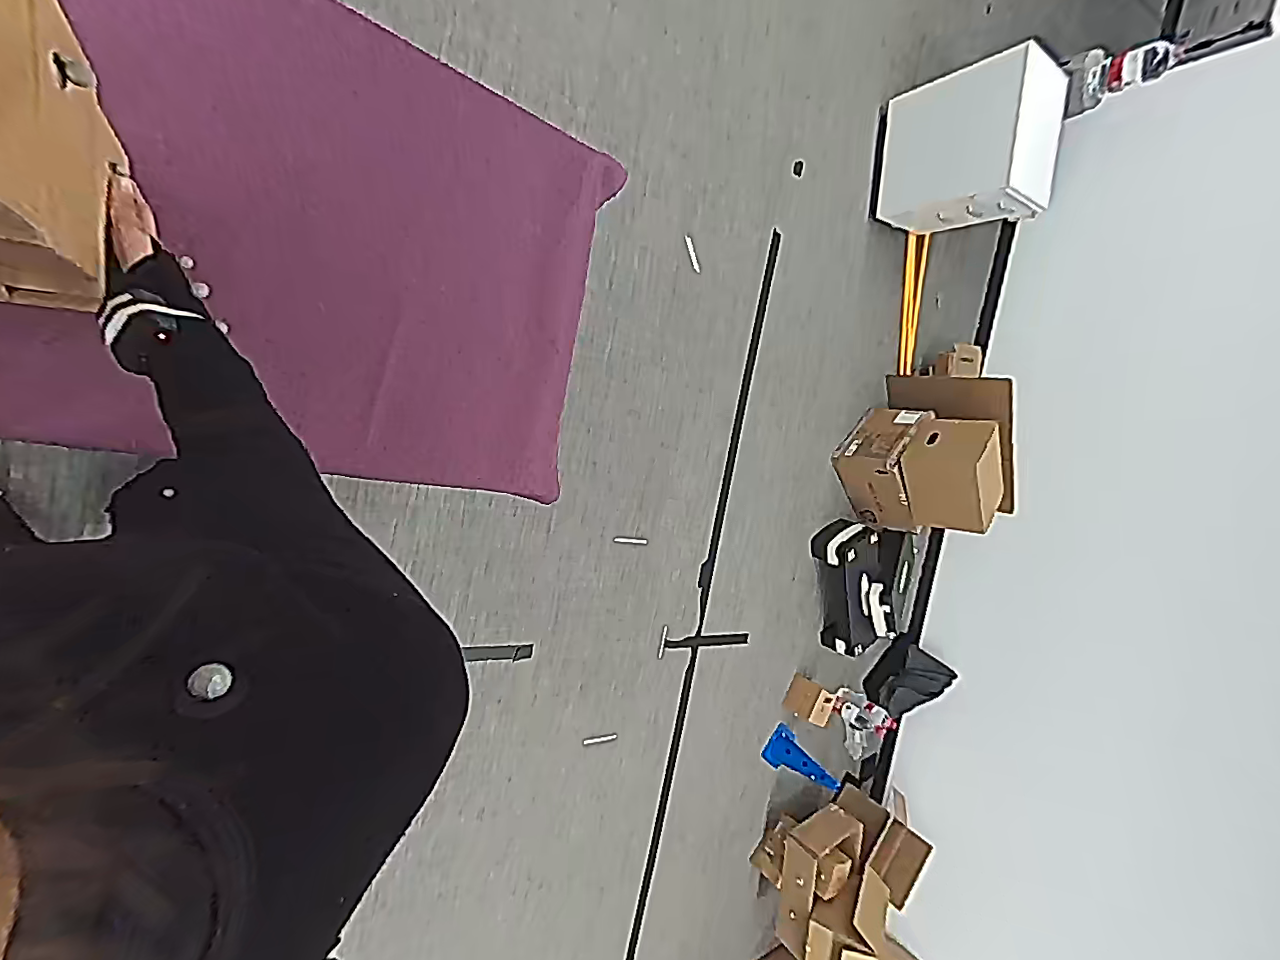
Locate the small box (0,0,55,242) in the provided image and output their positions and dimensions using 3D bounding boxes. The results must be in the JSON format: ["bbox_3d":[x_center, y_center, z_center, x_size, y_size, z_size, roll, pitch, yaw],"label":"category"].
[{"bbox_3d":[-0.403,-0.224,0.239,0.168,0.176,0.179,-3,99,-36],"label":"small box"}]

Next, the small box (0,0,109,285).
[{"bbox_3d":[-0.496,-0.250,0.371,0.168,0.176,0.179,1,98,-36],"label":"small box"}]
